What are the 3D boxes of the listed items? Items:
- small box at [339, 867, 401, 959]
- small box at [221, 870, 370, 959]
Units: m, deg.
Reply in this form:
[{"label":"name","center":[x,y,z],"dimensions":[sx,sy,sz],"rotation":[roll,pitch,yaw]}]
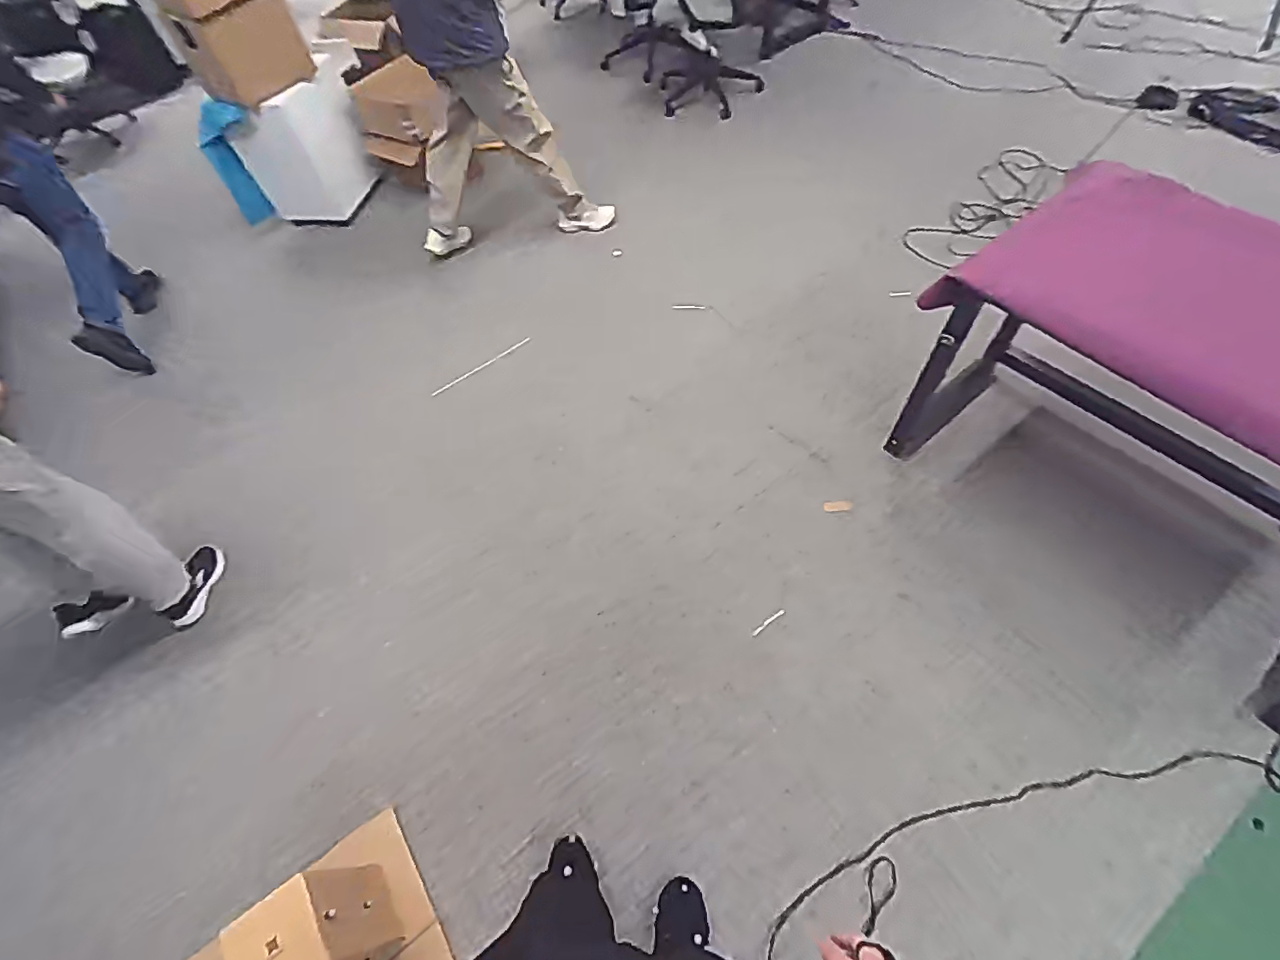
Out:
[{"label":"small box","center":[-0.671,1.009,1.213],"dimensions":[0.168,0.176,0.179],"rotation":[-33,61,-15]},{"label":"small box","center":[-0.678,0.919,1.079],"dimensions":[0.168,0.176,0.179],"rotation":[-34,62,-16]}]
